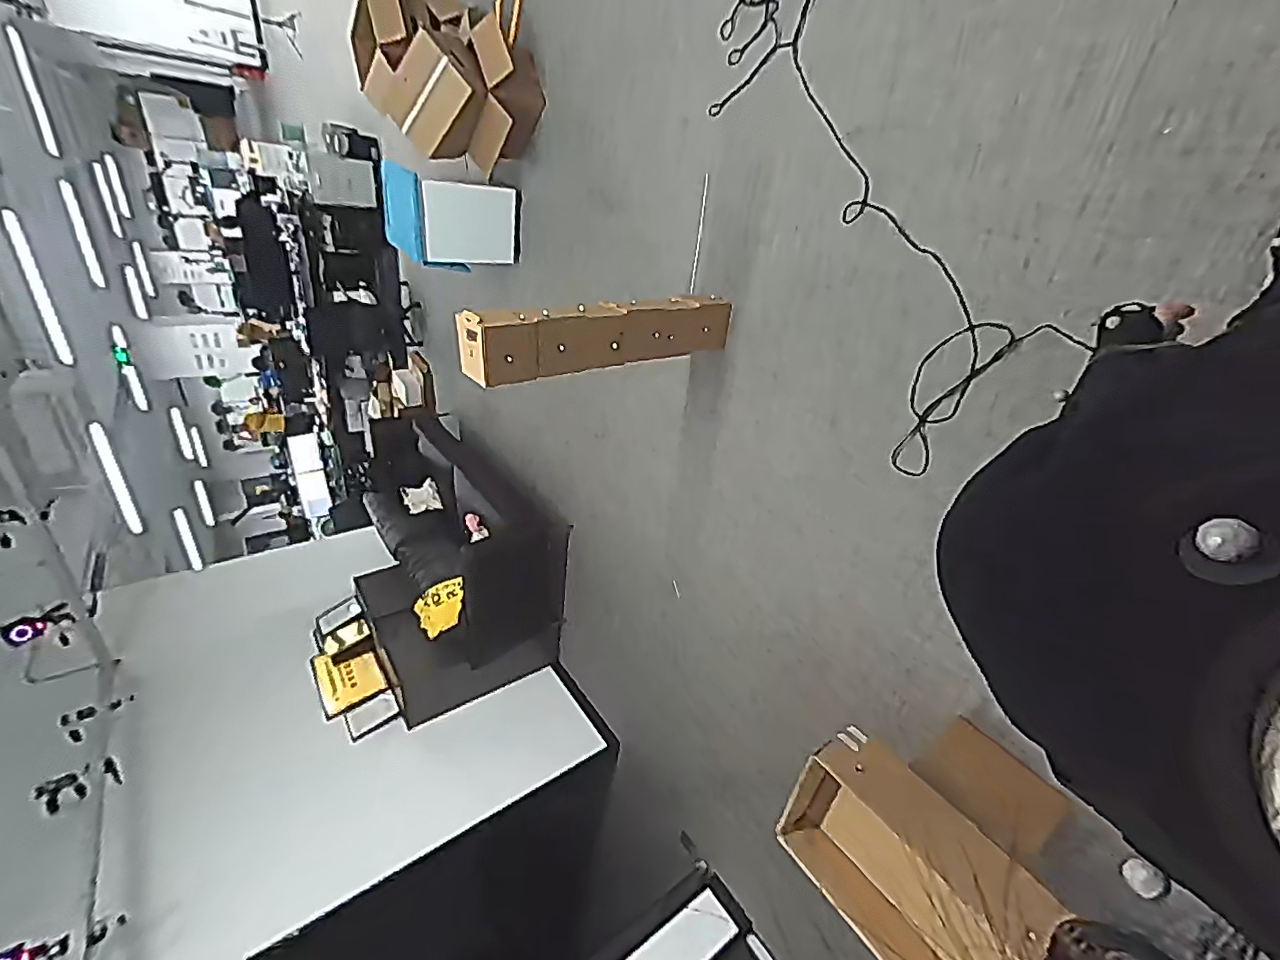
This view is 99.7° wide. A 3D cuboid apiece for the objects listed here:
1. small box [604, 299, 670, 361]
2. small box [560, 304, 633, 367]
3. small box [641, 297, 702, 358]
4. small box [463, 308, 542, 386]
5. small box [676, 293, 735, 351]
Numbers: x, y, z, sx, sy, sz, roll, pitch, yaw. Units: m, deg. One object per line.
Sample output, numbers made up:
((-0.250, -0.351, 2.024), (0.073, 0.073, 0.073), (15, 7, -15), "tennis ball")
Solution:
((-0.015, -0.519, 1.856), (0.168, 0.176, 0.179), (34, 128, 44), "small box")
((-0.144, -0.477, 1.765), (0.179, 0.176, 0.168), (32, 128, 43), "small box")
((0.106, -0.557, 1.959), (0.168, 0.176, 0.179), (35, 130, 42), "small box")
((-0.397, -0.394, 1.573), (0.168, 0.176, 0.179), (35, 131, 42), "small box")
((0.238, -0.601, 2.046), (0.168, 0.176, 0.179), (36, 130, 43), "small box")
